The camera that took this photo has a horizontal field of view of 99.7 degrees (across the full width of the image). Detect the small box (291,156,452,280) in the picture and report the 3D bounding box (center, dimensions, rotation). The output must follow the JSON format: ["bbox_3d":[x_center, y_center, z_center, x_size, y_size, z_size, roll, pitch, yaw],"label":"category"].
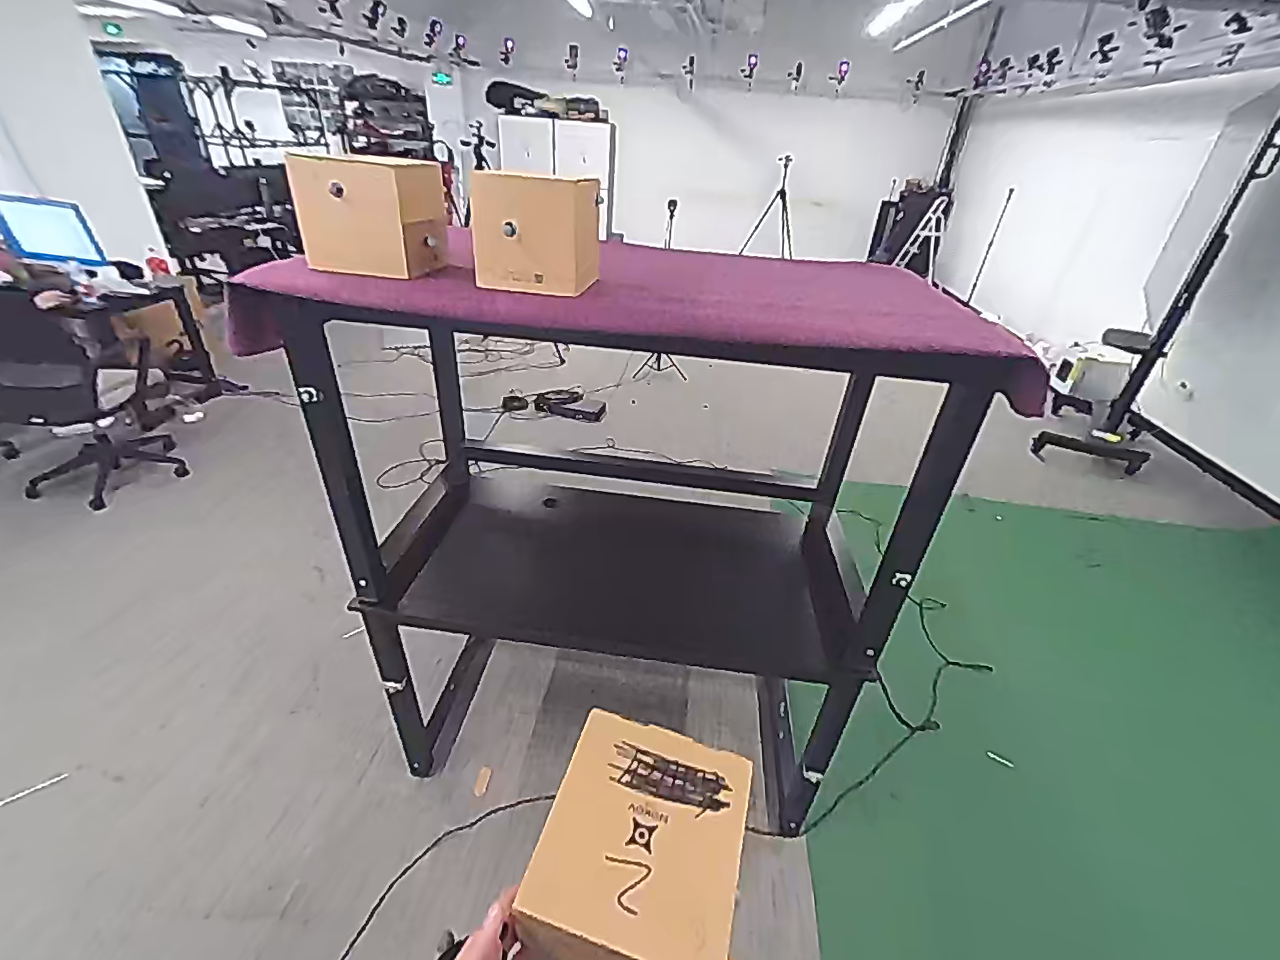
[{"bbox_3d":[-0.440,-0.443,0.917,0.179,0.176,0.168,8,31,4],"label":"small box"}]

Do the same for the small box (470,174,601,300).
[{"bbox_3d":[-0.161,-0.403,0.893,0.168,0.176,0.179,7,30,5],"label":"small box"}]
